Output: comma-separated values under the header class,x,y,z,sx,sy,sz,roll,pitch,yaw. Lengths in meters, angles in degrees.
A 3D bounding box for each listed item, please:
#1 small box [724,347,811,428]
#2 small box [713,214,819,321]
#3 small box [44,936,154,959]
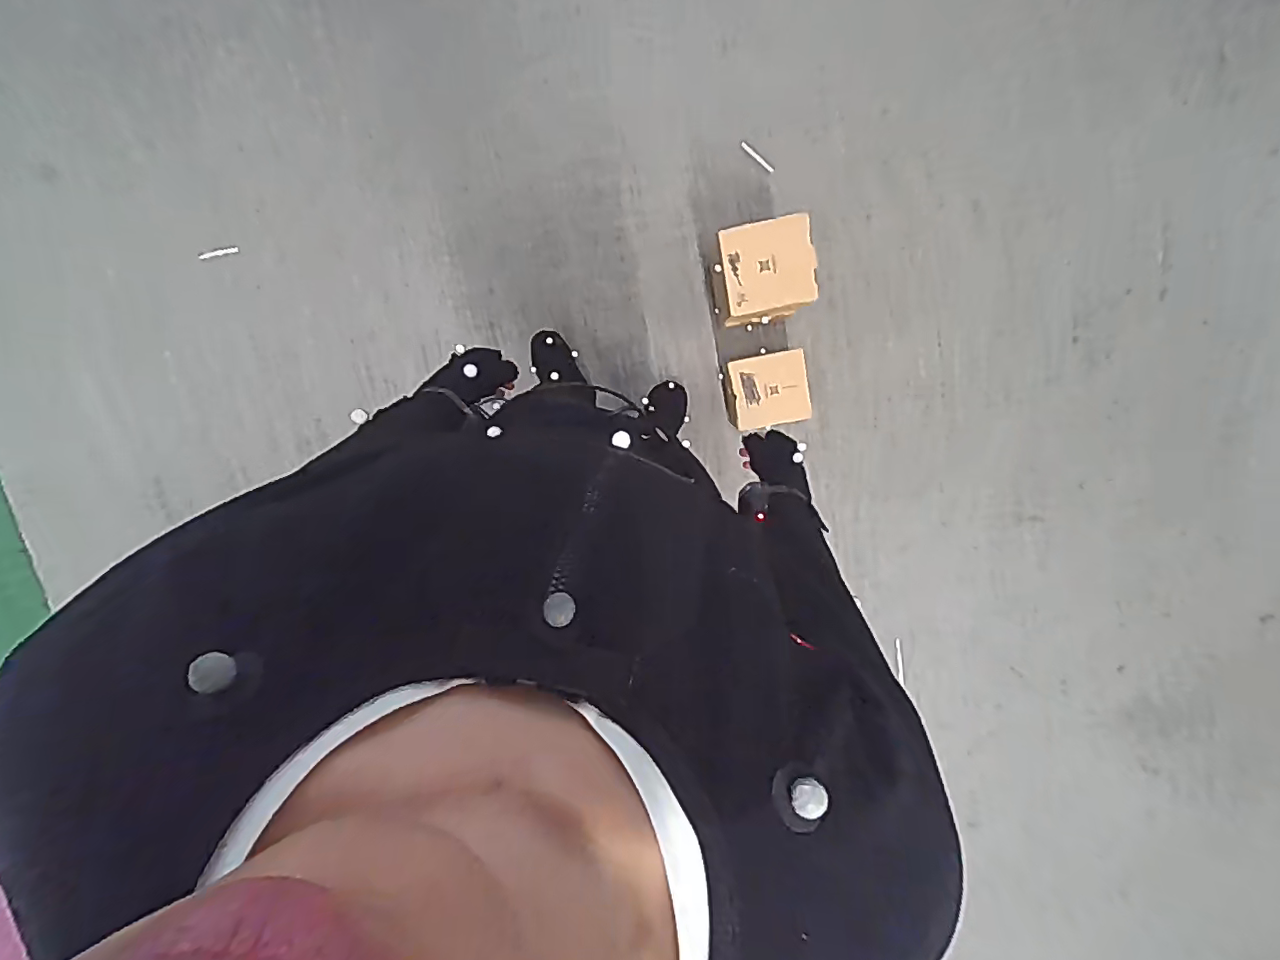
class,x,y,z,sx,sy,sz,roll,pitch,yaw
small box,0.307,-0.227,1.331,0.179,0.176,0.168,-10,101,5
small box,0.256,-0.434,1.128,0.179,0.176,0.168,-9,101,4
small box,-0.947,0.914,0.898,0.168,0.176,0.179,-4,101,3
